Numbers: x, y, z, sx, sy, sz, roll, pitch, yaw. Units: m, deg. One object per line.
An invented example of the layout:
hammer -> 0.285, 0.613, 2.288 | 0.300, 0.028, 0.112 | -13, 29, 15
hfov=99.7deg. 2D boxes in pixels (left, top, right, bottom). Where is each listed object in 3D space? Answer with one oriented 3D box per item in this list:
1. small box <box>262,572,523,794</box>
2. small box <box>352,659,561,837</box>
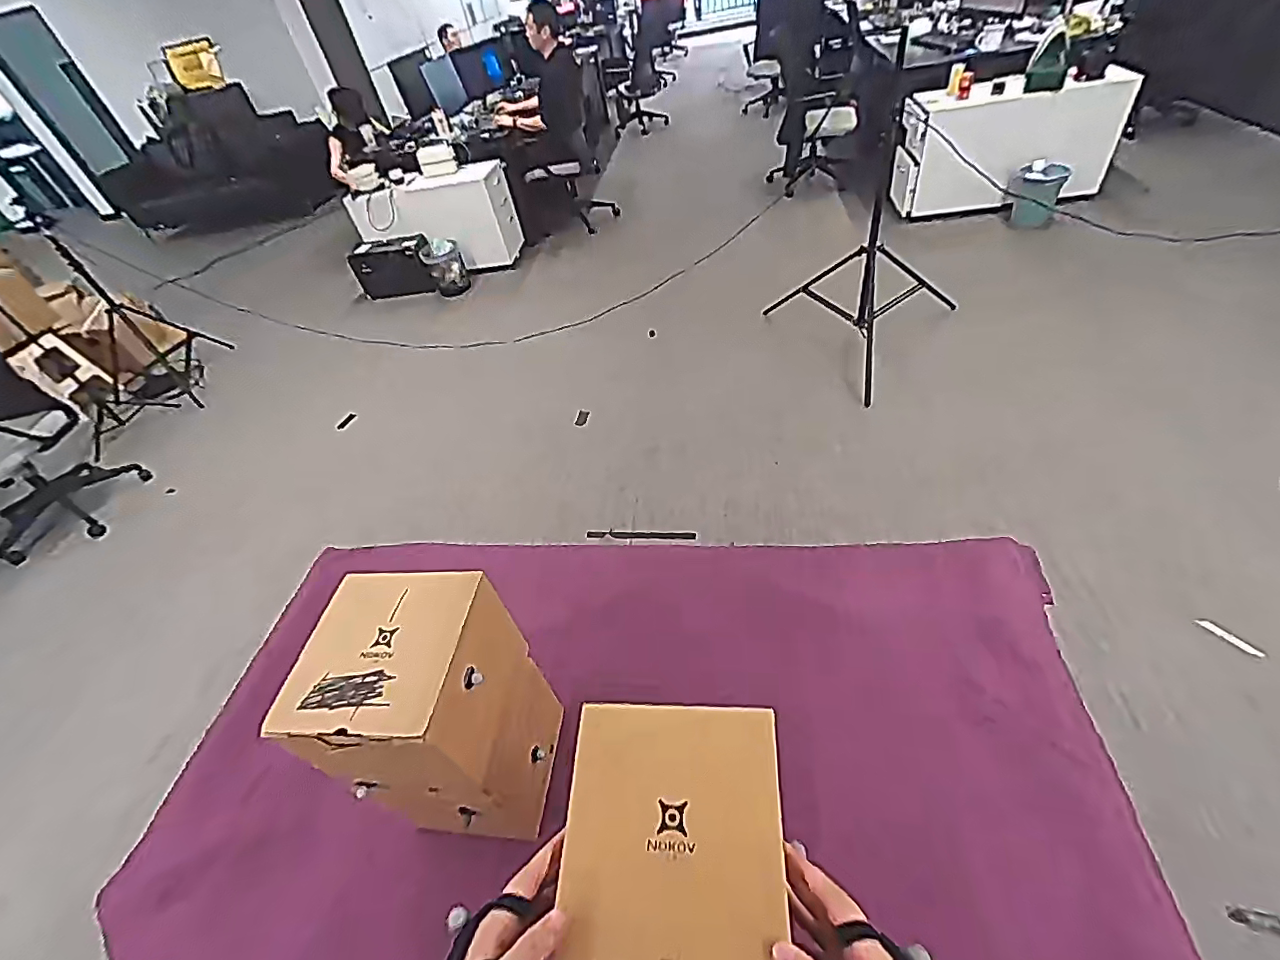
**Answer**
small box -> -0.241, 0.220, 0.584 | 0.168, 0.176, 0.179 | -3, 44, 10
small box -> -0.215, 0.340, 0.693 | 0.179, 0.176, 0.168 | -2, 45, 11
